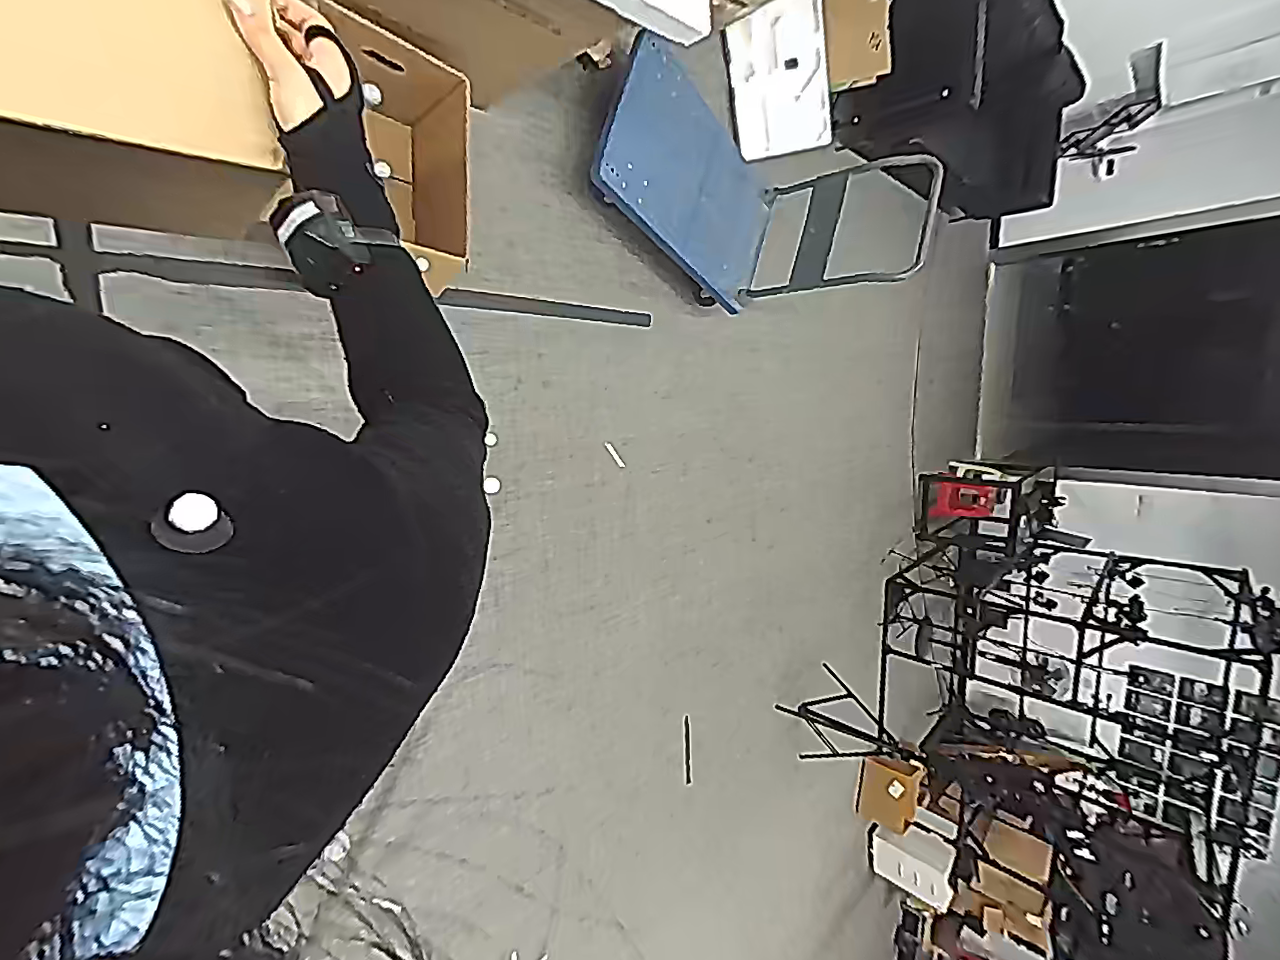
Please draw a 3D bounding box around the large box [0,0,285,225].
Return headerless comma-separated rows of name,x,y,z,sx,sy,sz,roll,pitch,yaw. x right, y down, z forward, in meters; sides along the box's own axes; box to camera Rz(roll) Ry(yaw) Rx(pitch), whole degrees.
large box,-0.532,-0.395,0.382,0.408,0.320,0.320,-11,105,-41
